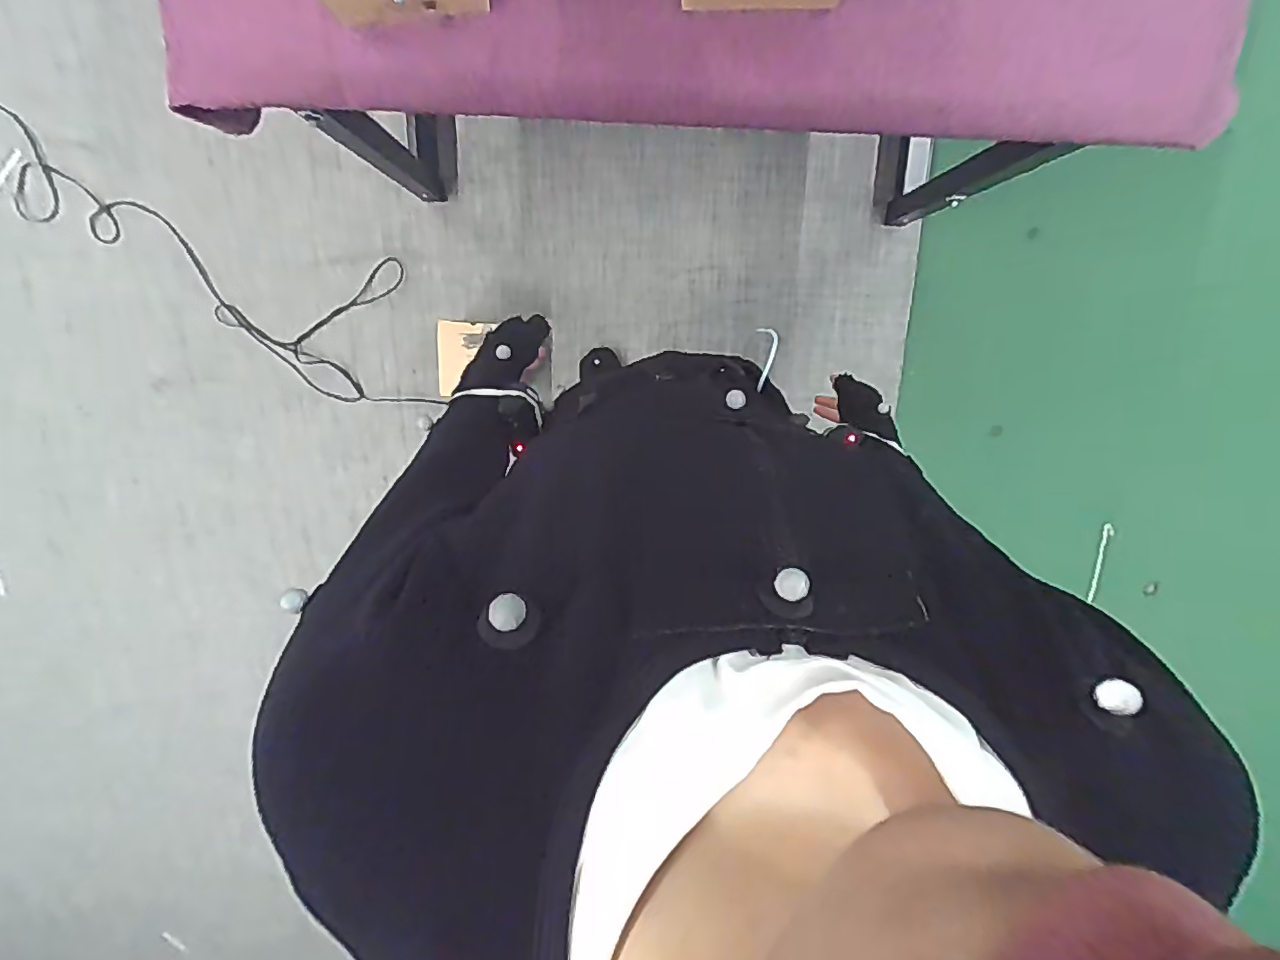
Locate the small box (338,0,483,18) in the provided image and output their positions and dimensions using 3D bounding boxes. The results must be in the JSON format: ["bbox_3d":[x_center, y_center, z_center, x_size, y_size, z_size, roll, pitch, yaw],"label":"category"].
[{"bbox_3d":[-0.254,-0.585,0.504,0.168,0.176,0.179,-4,103,-1],"label":"small box"}]
